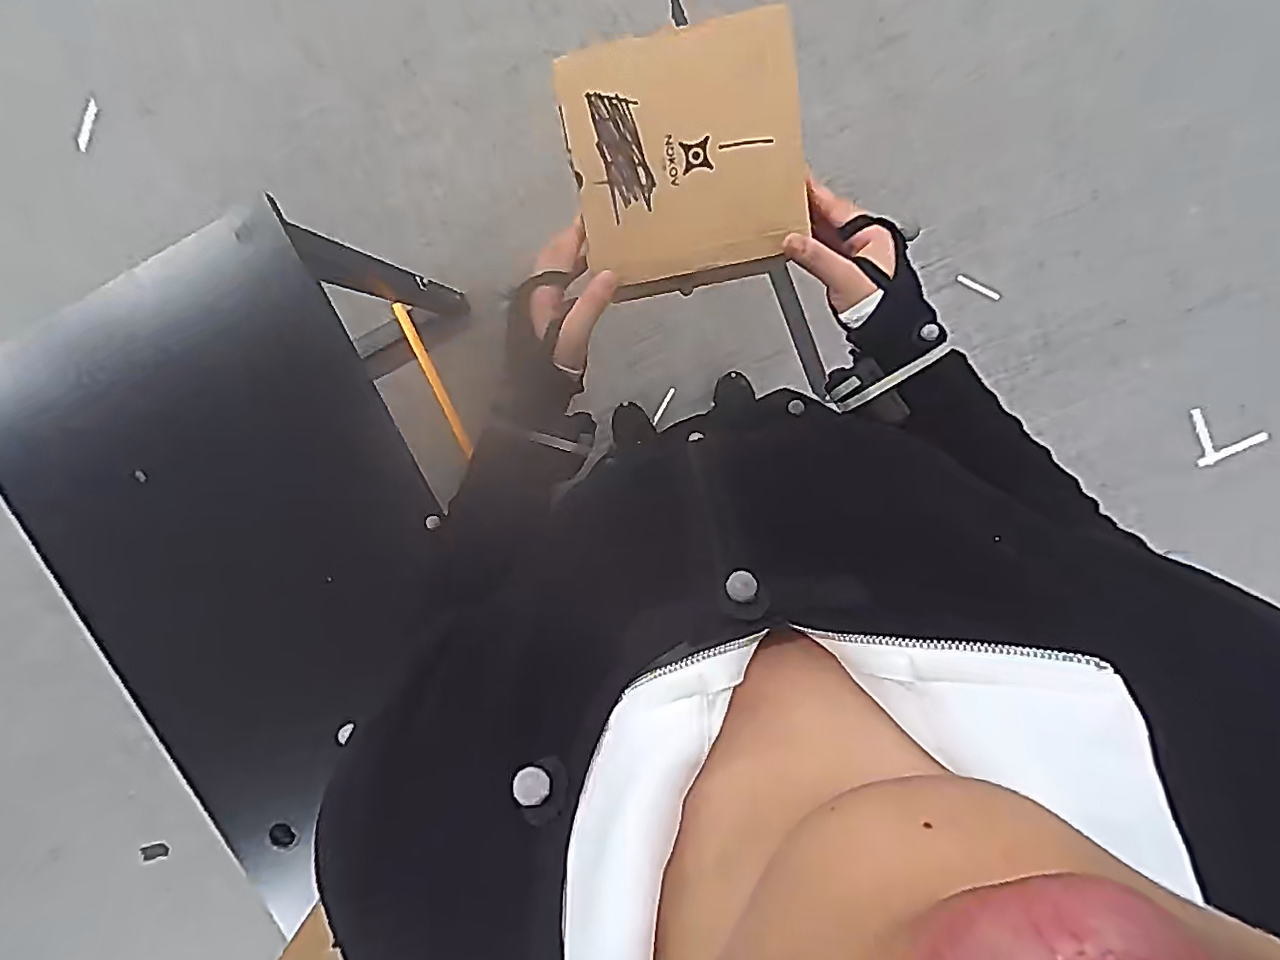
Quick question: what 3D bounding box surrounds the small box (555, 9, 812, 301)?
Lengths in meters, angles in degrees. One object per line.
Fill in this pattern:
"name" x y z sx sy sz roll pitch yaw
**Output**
"small box" 0.039 -0.261 0.484 0.179 0.176 0.168 -10 105 4
